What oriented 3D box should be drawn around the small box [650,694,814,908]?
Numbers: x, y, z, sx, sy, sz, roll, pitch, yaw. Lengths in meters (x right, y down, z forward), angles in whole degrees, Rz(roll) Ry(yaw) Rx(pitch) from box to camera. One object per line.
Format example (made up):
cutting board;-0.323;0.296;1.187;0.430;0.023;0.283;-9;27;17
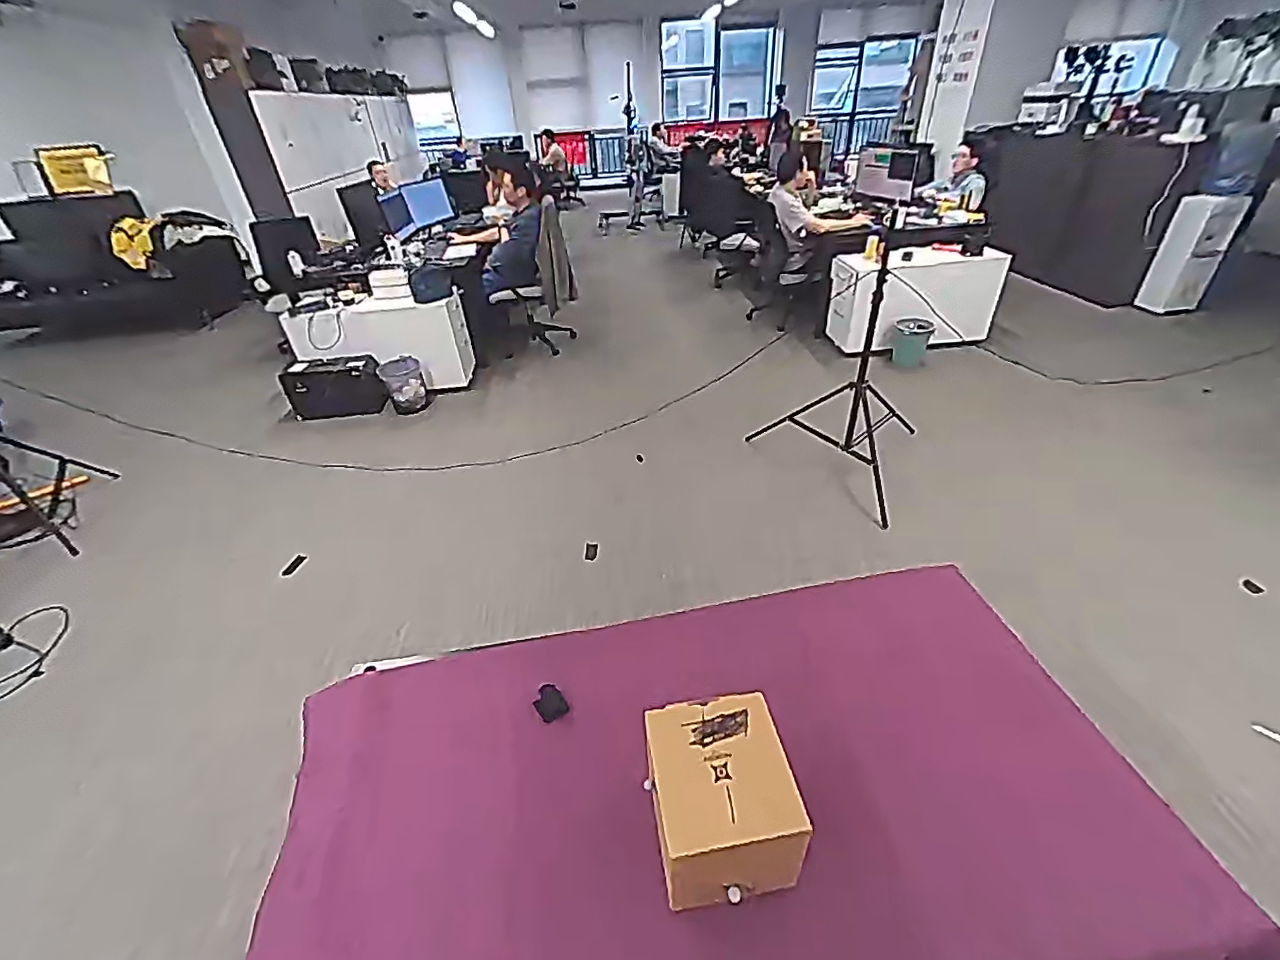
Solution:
small box;0.106;0.415;0.708;0.168;0.176;0.179;-8;35;-5
